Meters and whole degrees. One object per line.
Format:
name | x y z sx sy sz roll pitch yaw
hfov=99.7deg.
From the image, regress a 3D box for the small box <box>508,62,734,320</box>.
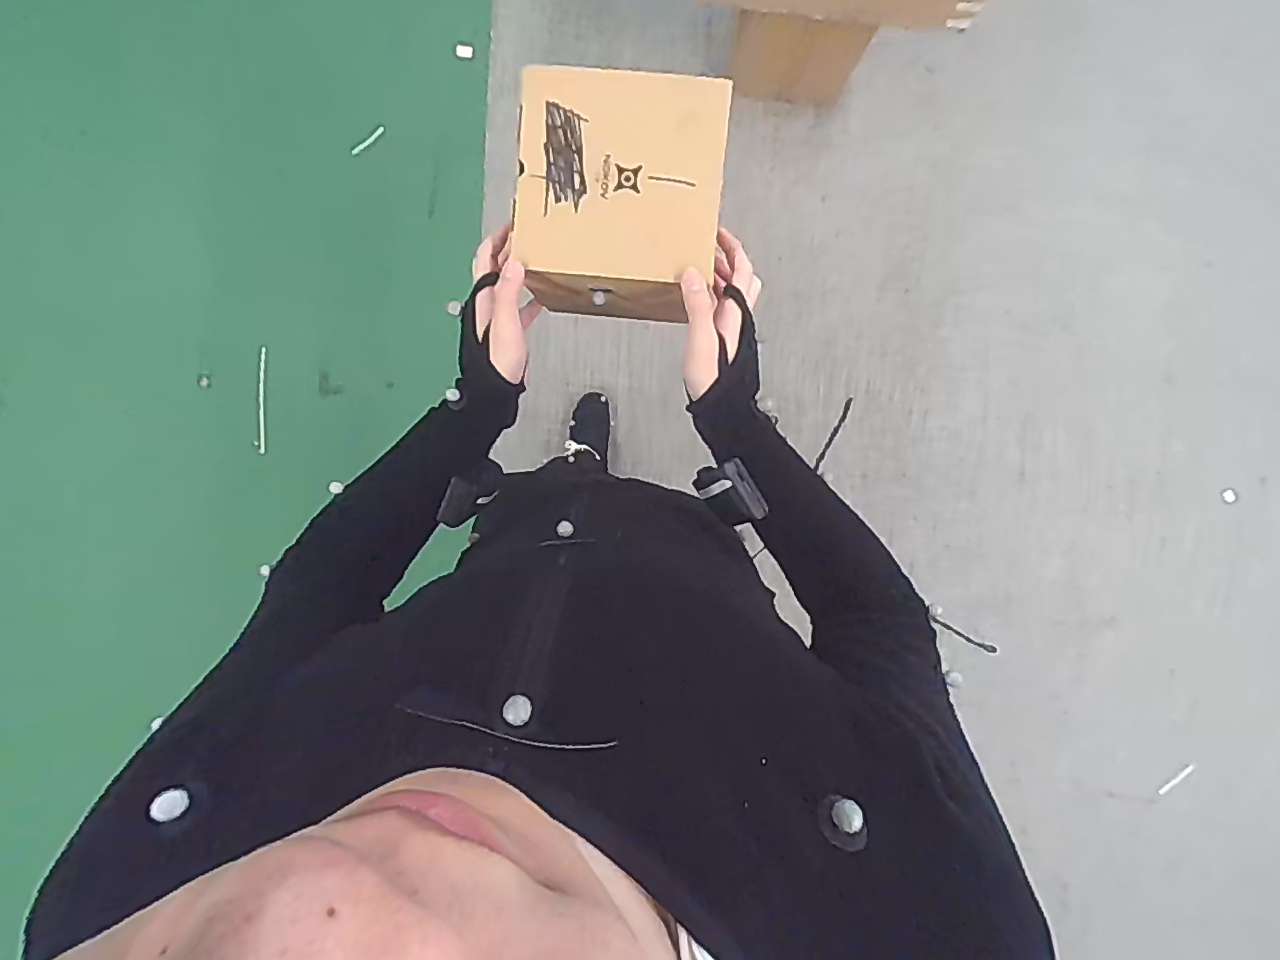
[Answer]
small box | -0.015 -0.261 0.528 0.179 0.176 0.168 6 95 1
